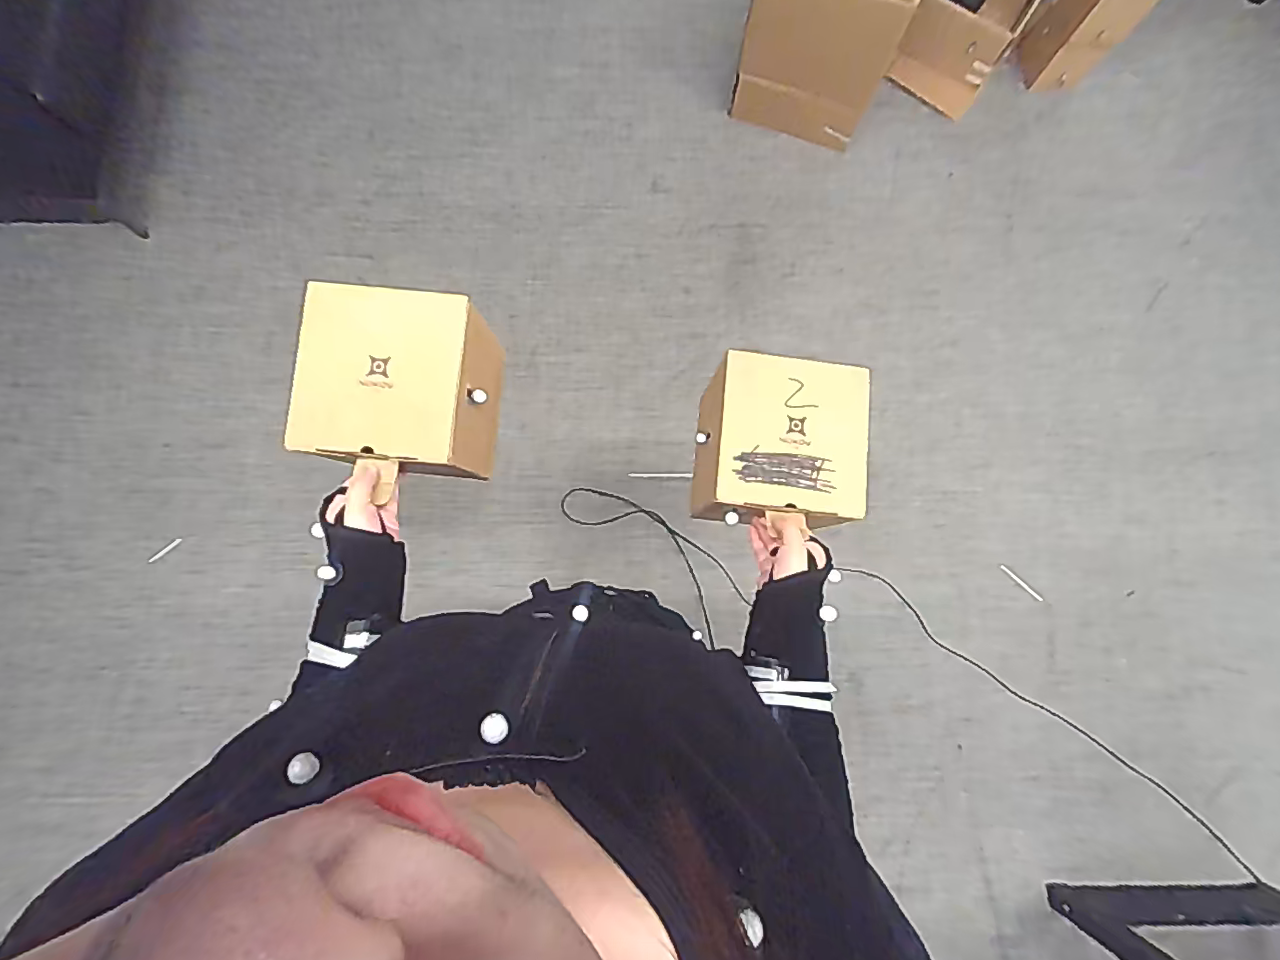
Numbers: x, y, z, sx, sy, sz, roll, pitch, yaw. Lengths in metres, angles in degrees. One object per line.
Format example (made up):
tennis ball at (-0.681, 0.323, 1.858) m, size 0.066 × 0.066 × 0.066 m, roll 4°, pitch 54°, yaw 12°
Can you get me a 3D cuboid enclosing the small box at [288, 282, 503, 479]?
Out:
small box at (-0.262, -0.101, 0.623) m, size 0.168 × 0.176 × 0.179 m, roll 6°, pitch 86°, yaw -1°
